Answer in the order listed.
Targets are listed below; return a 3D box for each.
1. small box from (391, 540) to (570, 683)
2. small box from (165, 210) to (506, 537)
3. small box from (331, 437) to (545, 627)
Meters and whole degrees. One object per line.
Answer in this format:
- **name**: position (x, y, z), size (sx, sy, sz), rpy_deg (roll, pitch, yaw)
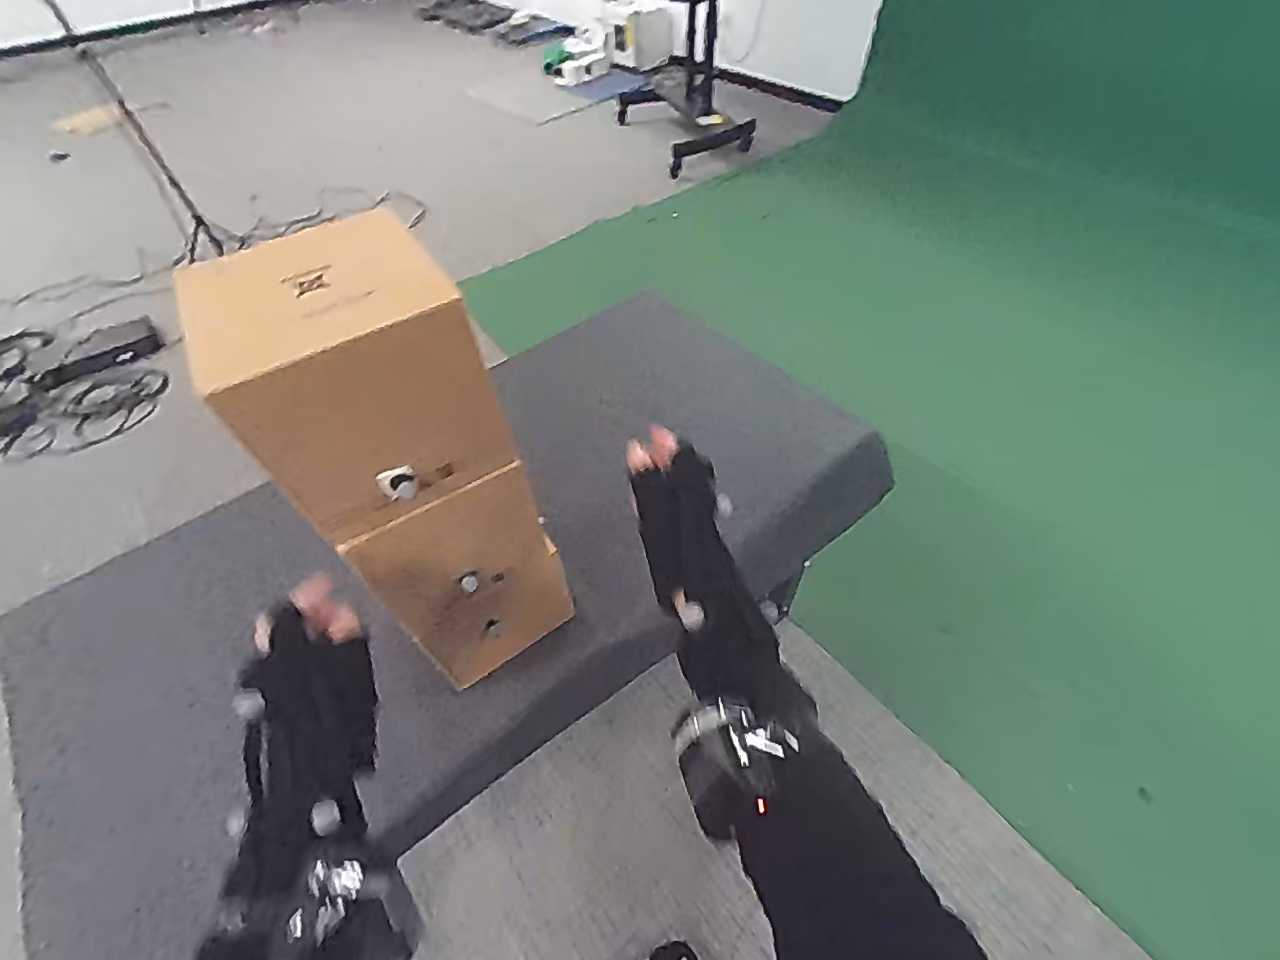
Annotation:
- **small box**: position (-0.211, 0.125, 0.692), size (0.179, 0.176, 0.168), rpy_deg (-32, 56, -19)
- **small box**: position (-0.234, -0.084, 0.443), size (0.168, 0.176, 0.179), rpy_deg (-30, 56, -17)
- **small box**: position (-0.222, 0.018, 0.567), size (0.168, 0.176, 0.179), rpy_deg (-31, 54, -20)
